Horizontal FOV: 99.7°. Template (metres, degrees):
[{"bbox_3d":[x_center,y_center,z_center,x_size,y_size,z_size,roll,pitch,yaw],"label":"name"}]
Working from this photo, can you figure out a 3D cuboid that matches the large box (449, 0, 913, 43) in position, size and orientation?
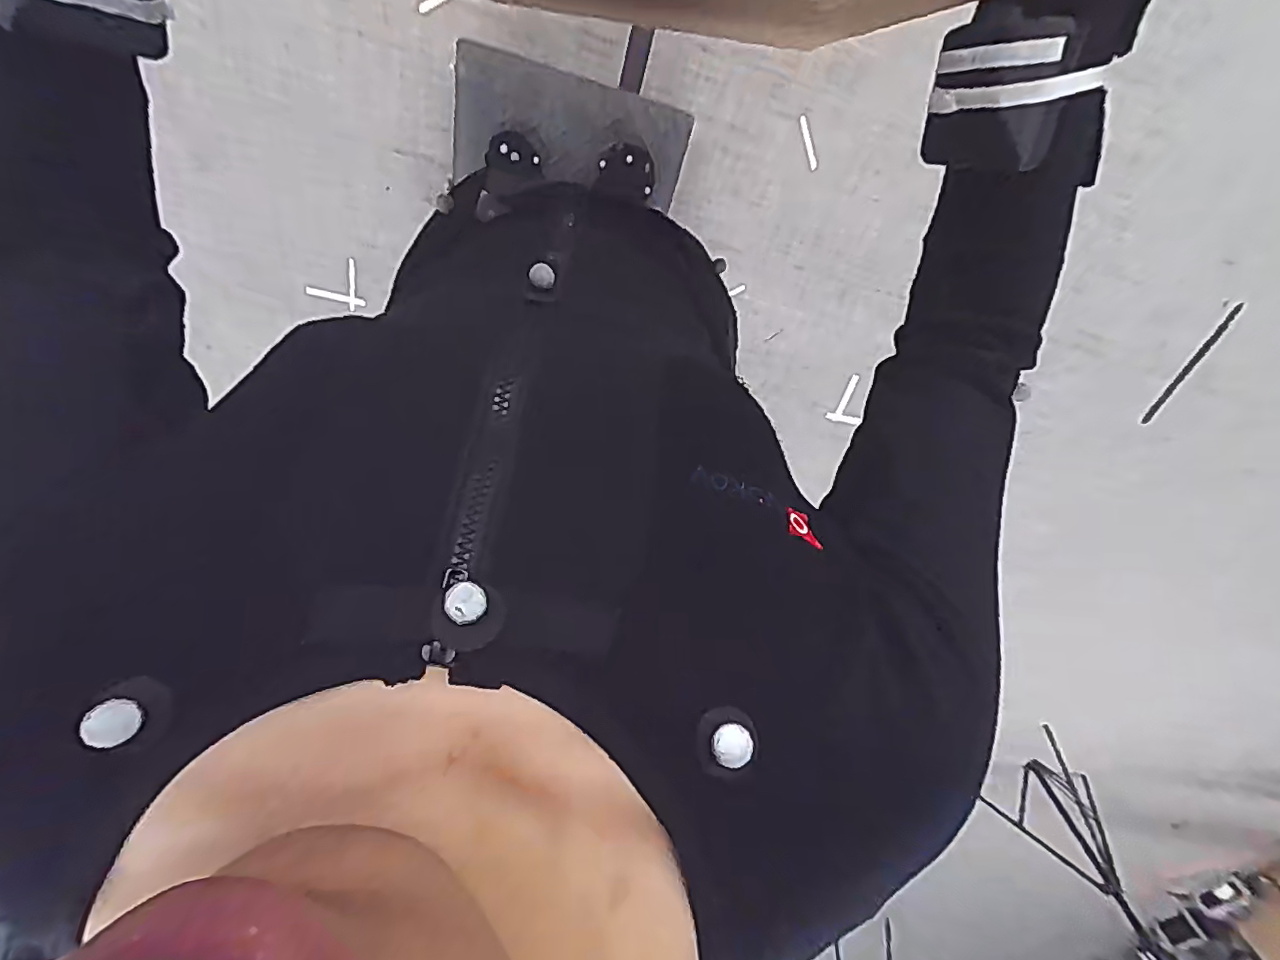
[{"bbox_3d":[-0.014,-0.470,0.293,0.408,0.320,0.320,3,125,-6],"label":"large box"}]
